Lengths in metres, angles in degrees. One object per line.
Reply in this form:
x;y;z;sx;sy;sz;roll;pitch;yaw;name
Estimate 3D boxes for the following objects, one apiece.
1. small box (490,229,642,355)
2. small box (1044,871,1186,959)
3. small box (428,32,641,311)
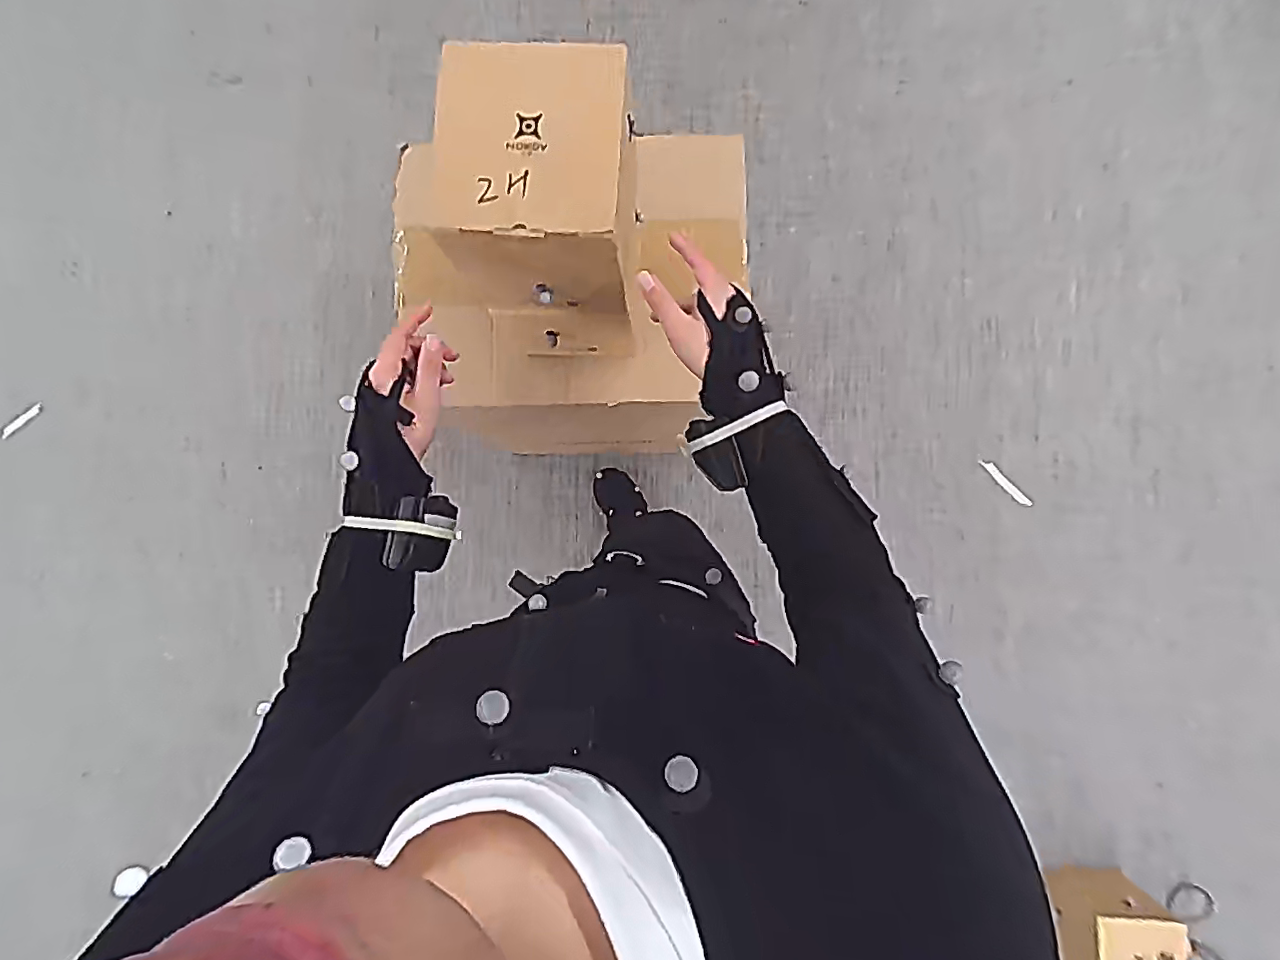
-0.084;-0.268;0.700;0.168;0.176;0.179;1;85;2;small box
1.036;0.999;1.190;0.179;0.176;0.168;1;85;3;small box
-0.087;-0.288;0.536;0.168;0.176;0.179;4;85;3;small box
